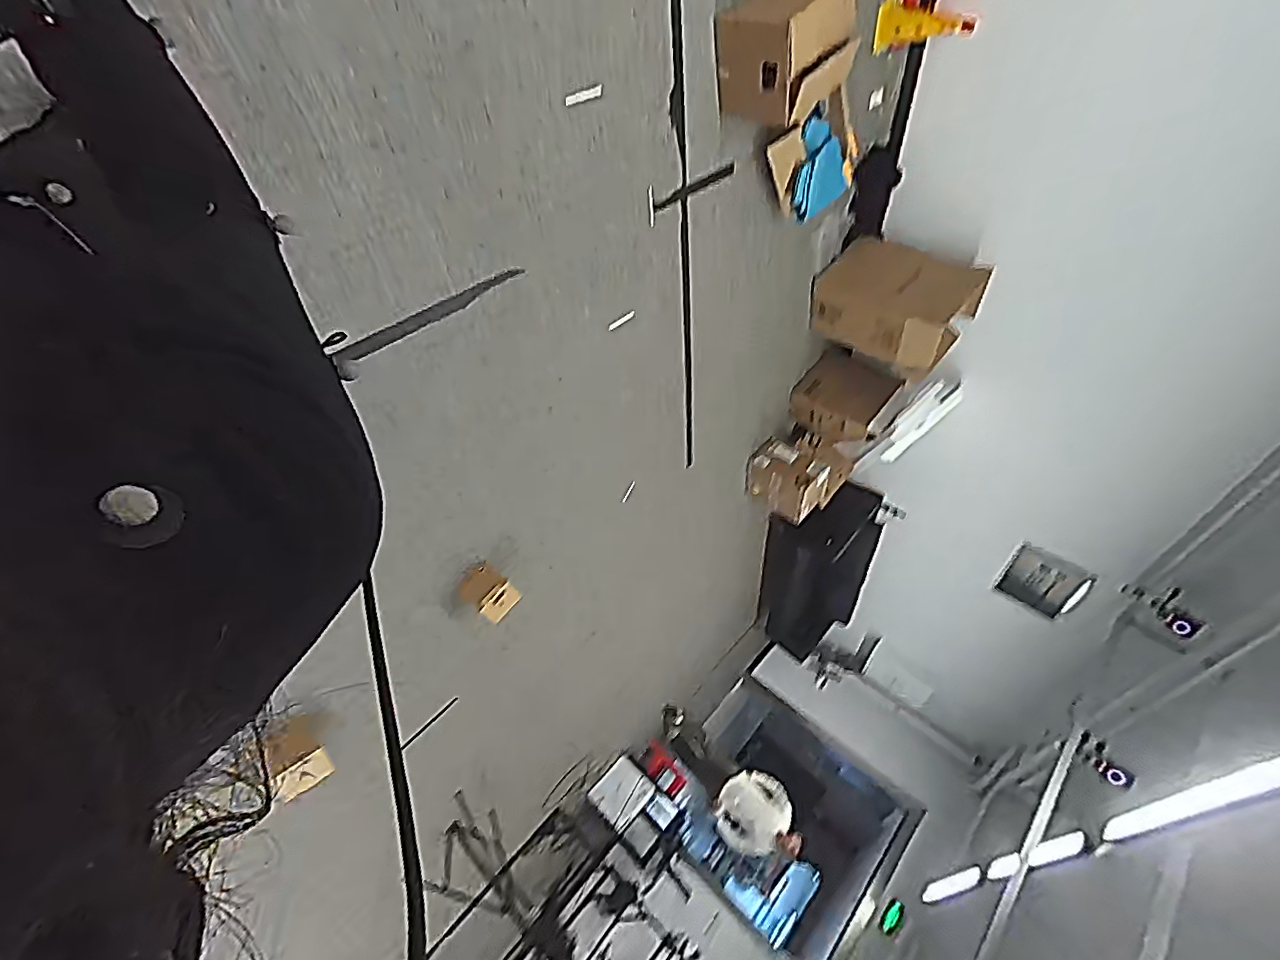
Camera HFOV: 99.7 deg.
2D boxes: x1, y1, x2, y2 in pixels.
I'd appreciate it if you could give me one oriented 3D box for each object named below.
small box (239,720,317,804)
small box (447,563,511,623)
[{"bbox_3d":[-1.295,1.002,1.935,0.168,0.176,0.179,-29,140,-40],"label":"small box"},{"bbox_3d":[-0.697,0.481,2.329,0.168,0.176,0.179,-47,150,-18],"label":"small box"}]
